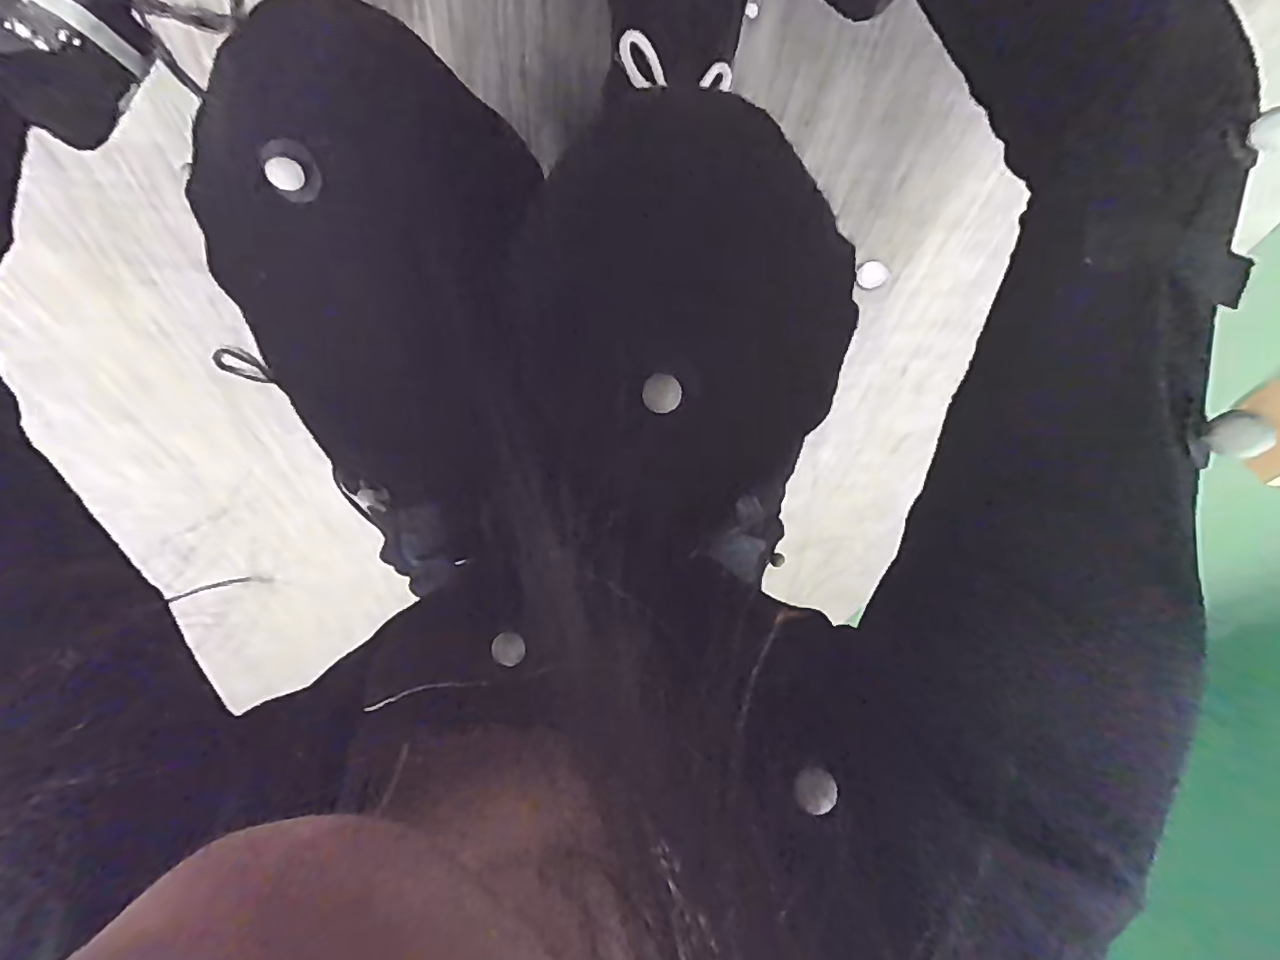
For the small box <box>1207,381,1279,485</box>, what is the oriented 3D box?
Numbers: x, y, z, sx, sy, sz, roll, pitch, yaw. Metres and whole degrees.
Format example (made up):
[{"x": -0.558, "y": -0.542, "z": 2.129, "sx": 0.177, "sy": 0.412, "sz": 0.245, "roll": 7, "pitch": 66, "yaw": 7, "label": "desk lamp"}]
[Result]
[{"x": 1.427, "y": -0.108, "z": 1.178, "sx": 0.179, "sy": 0.176, "sz": 0.168, "roll": -5, "pitch": 145, "yaw": -10, "label": "small box"}]
